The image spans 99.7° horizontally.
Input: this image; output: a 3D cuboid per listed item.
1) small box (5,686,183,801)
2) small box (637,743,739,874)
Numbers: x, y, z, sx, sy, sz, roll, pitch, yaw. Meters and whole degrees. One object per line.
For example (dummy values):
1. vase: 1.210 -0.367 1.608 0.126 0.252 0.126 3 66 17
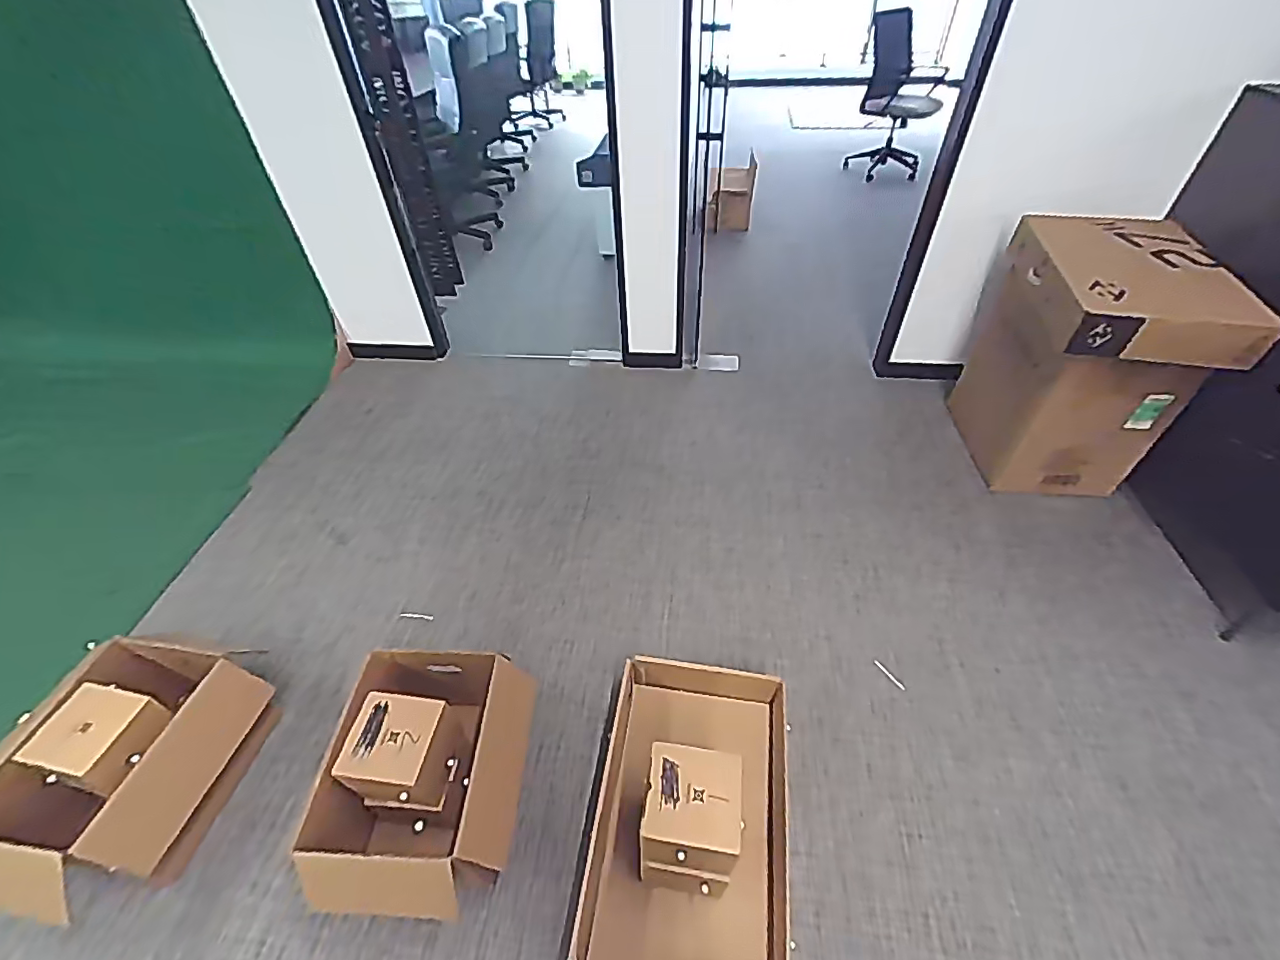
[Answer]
1. small box: -1.169 0.577 1.179 0.179 0.176 0.168 8 45 8
2. small box: 0.092 0.637 1.047 0.179 0.176 0.168 7 43 6
